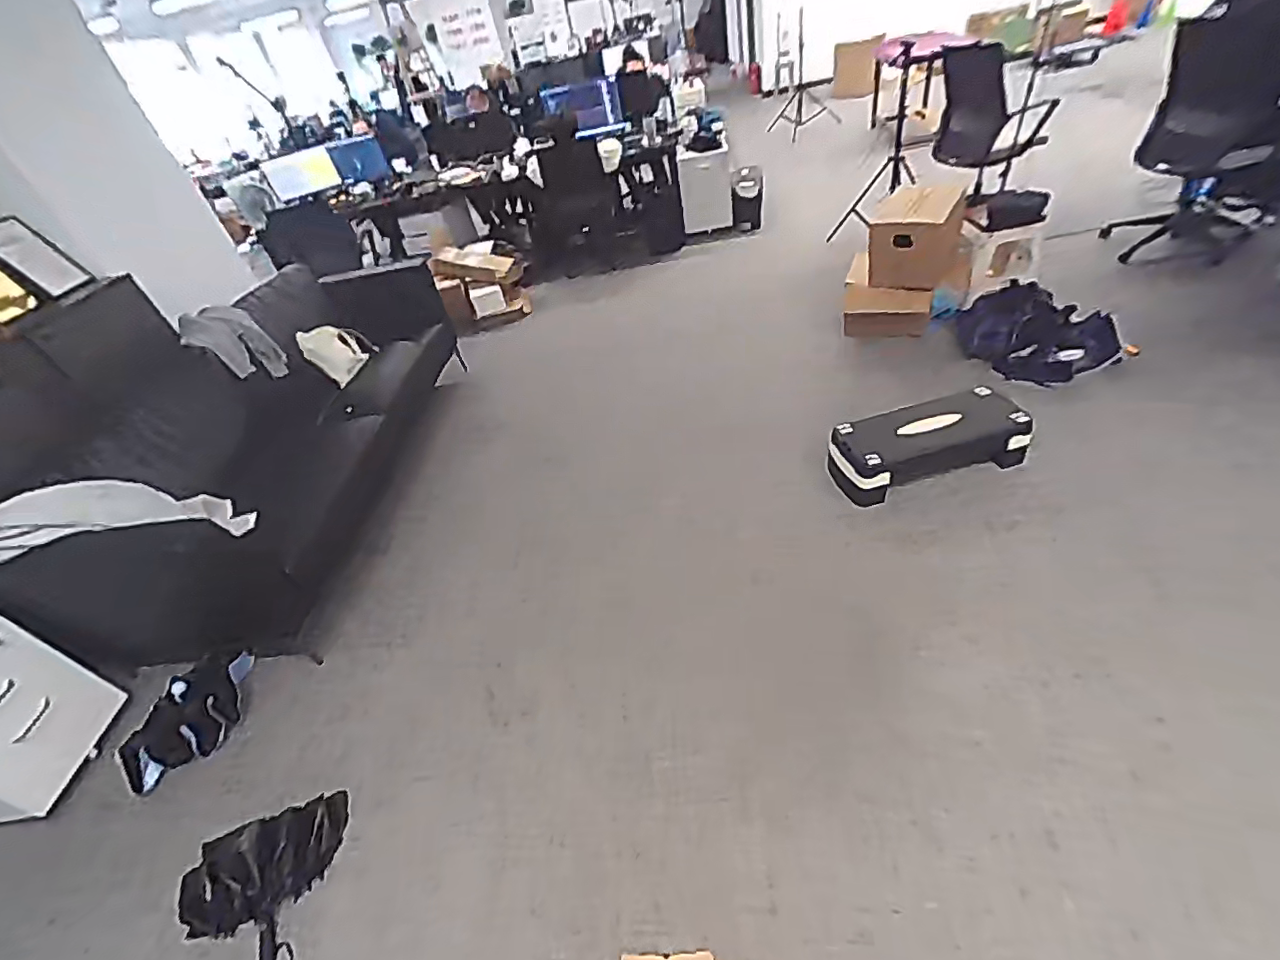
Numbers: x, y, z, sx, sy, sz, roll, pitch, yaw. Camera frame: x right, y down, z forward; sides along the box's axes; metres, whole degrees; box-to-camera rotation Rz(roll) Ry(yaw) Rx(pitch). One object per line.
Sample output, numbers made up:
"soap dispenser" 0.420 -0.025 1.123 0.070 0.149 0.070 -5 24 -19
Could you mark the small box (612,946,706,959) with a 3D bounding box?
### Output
"small box" 0.042 0.946 0.946 0.168 0.176 0.179 -8 41 8
